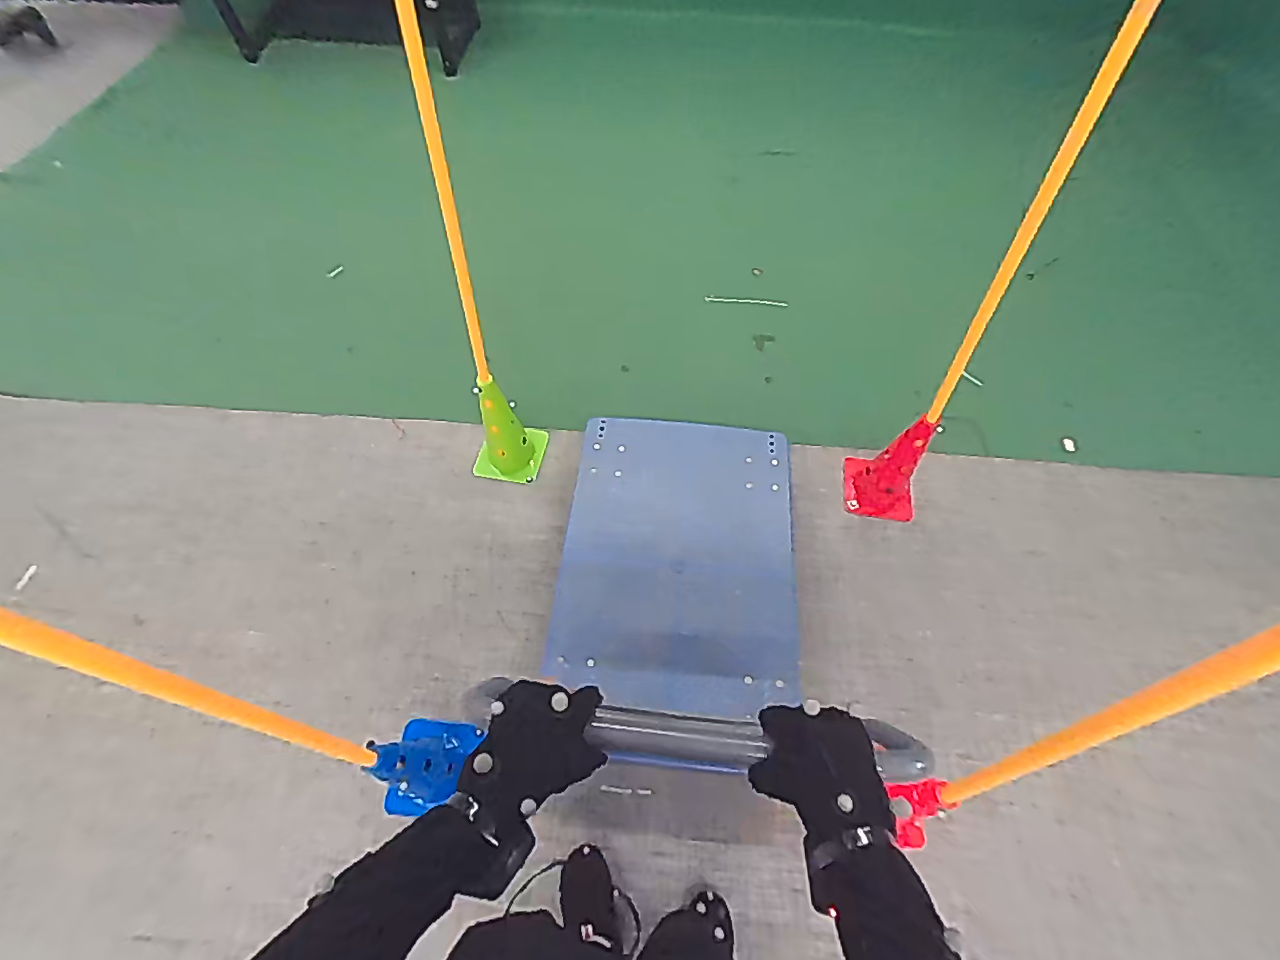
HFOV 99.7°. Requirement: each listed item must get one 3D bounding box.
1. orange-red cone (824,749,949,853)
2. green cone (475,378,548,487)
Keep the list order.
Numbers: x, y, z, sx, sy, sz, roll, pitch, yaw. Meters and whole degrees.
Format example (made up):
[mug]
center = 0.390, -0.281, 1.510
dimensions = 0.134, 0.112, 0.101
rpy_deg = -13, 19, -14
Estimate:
[orange-red cone]
center = 0.525, 0.644, 1.097
dimensions = 0.199, 0.360, 0.198
rpy_deg = 3, 59, 4
[green cone]
center = -0.407, -0.162, 1.568
dimensions = 0.202, 0.368, 0.200
rpy_deg = 8, 59, 5
